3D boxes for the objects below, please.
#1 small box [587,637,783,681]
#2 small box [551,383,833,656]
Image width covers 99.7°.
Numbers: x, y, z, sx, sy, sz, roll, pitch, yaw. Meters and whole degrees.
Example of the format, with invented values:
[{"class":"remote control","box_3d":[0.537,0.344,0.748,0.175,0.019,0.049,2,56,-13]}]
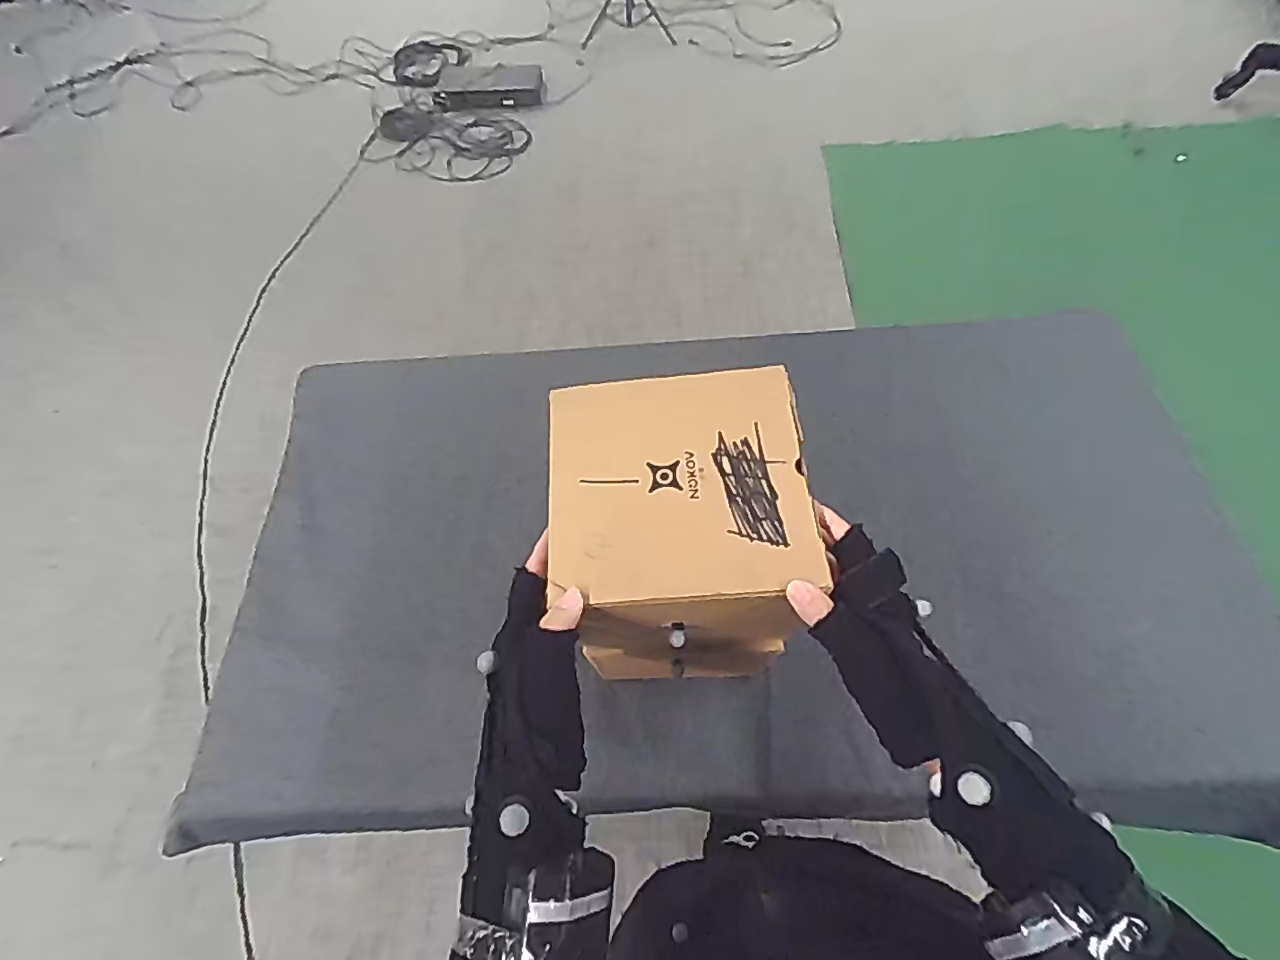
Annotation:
[{"class":"small box","box_3d":[0.042,0.119,0.580,0.179,0.176,0.168,-2,64,1]},{"class":"small box","box_3d":[0.033,0.043,0.435,0.179,0.176,0.168,-5,64,3]}]
